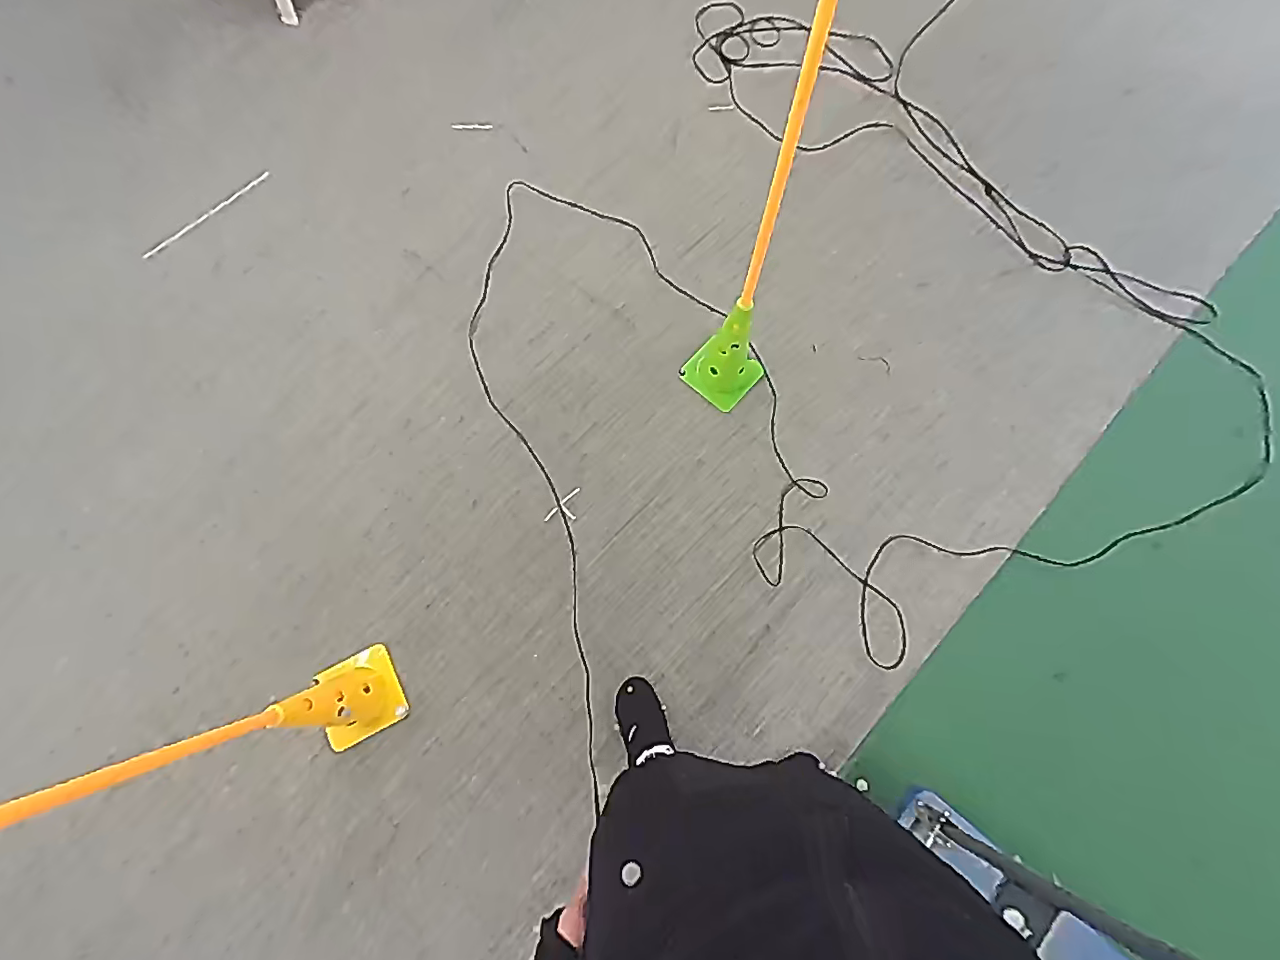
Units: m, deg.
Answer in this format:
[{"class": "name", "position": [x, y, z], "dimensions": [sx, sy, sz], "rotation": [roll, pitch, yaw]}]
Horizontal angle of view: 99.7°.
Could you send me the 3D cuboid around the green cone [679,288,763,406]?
[{"class": "green cone", "position": [0.251, -0.392, 1.475], "dimensions": [0.200, 0.368, 0.202], "rotation": [40, 76, 9]}]
